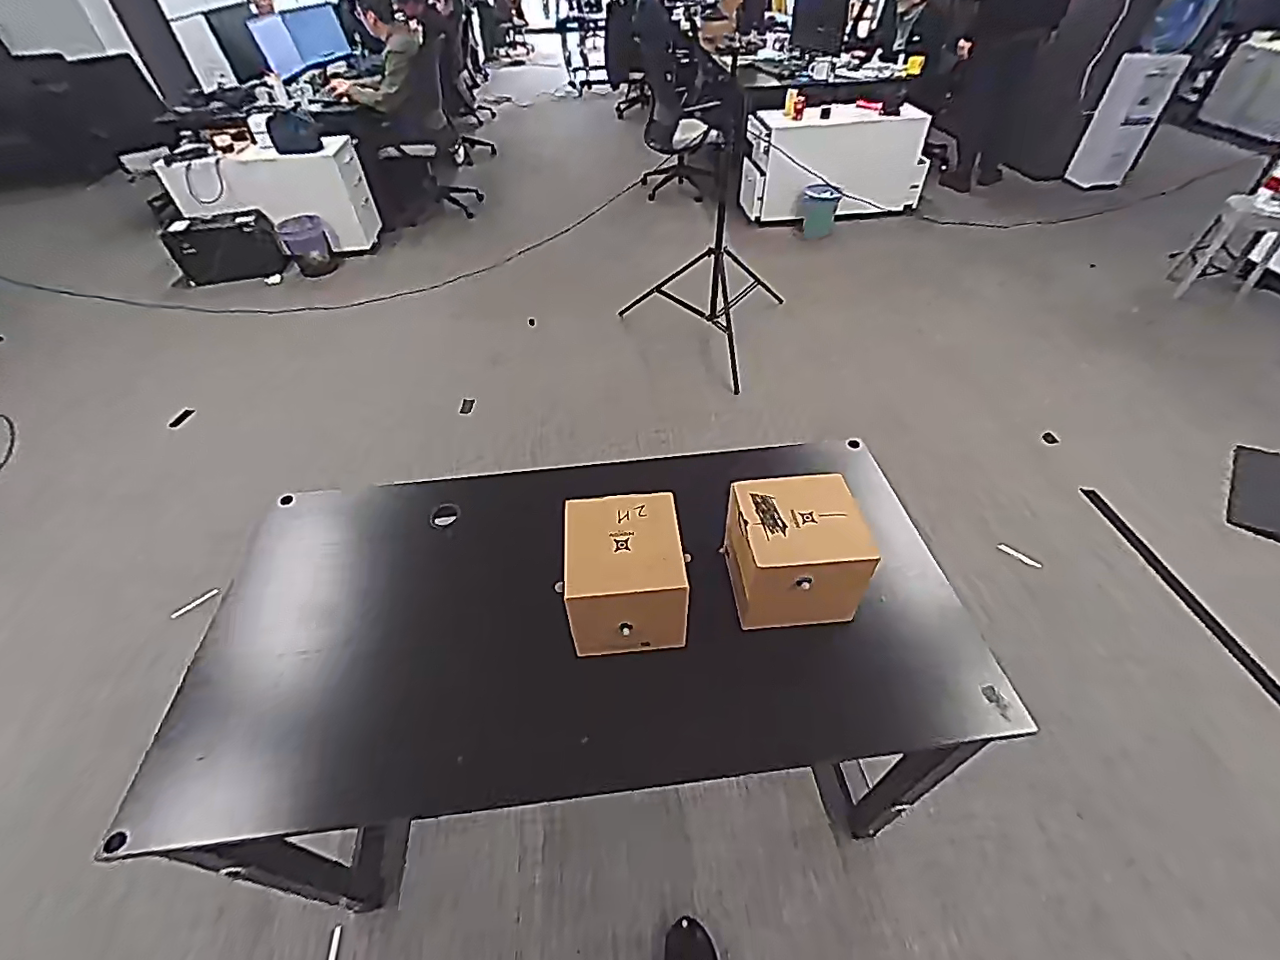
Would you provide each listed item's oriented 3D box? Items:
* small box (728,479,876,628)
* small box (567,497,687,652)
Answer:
[{"bbox_3d":[0.239,0.119,0.854,0.179,0.176,0.168,-4,46,-2],"label":"small box"},{"bbox_3d":[-0.019,0.151,0.834,0.168,0.176,0.179,-4,46,-2],"label":"small box"}]
